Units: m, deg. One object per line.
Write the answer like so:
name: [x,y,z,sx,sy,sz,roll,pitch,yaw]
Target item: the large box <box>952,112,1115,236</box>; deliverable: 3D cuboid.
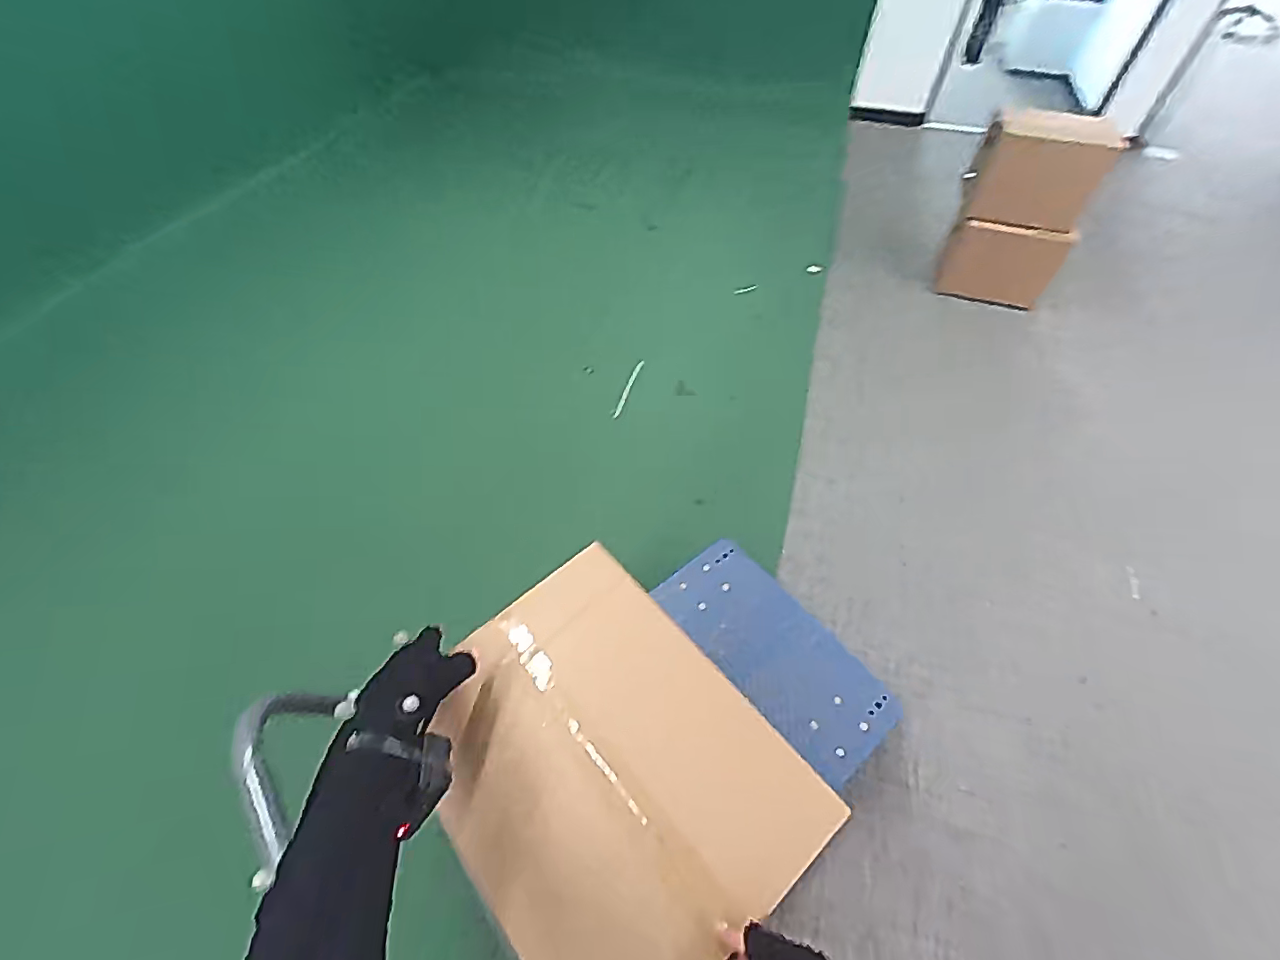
large box: [1.528,-1.215,2.147,0.408,0.320,0.320,15,51,9]
